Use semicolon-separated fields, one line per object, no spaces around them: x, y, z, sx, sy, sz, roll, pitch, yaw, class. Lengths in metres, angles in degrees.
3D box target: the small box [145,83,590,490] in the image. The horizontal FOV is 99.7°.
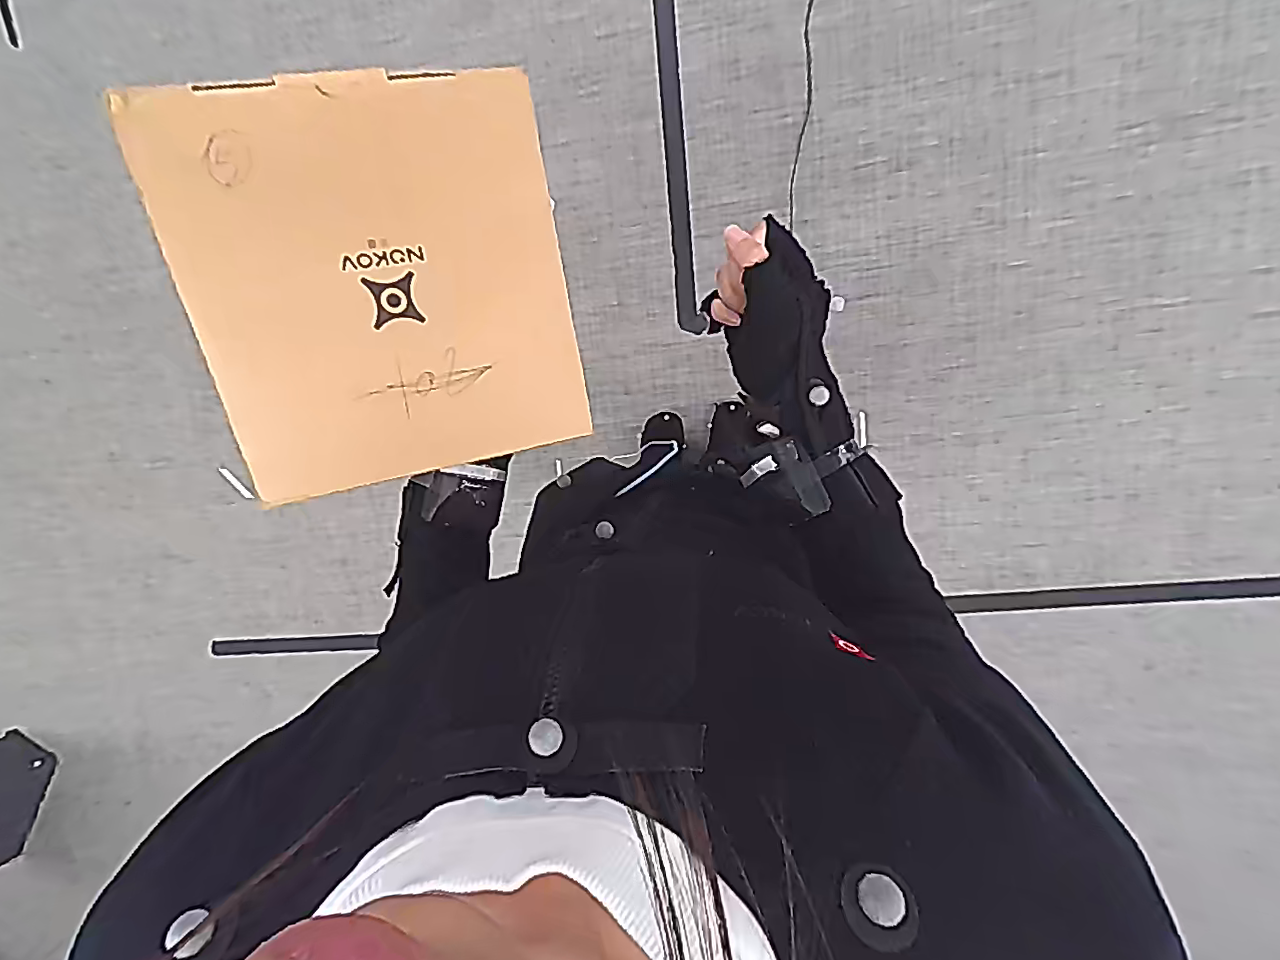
-0.141;-0.111;0.340;0.168;0.176;0.179;-14;108;-14;small box
